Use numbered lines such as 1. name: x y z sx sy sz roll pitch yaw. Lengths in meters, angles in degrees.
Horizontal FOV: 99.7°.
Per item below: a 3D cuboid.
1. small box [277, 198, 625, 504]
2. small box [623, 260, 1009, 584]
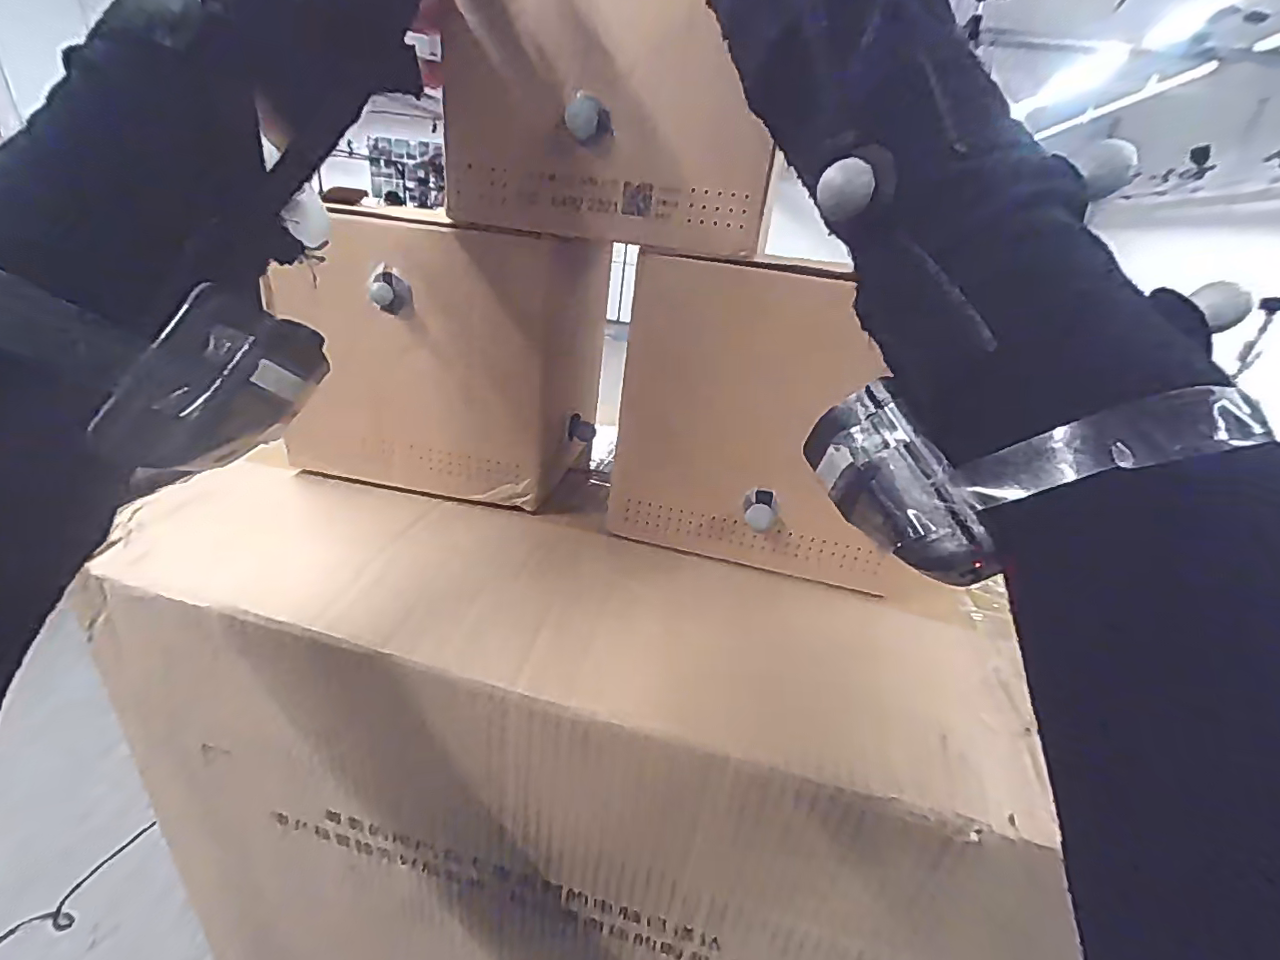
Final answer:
1. small box: -0.118 -0.097 0.398 0.179 0.176 0.168 11 25 5
2. small box: 0.097 -0.051 0.367 0.179 0.176 0.168 11 25 8
